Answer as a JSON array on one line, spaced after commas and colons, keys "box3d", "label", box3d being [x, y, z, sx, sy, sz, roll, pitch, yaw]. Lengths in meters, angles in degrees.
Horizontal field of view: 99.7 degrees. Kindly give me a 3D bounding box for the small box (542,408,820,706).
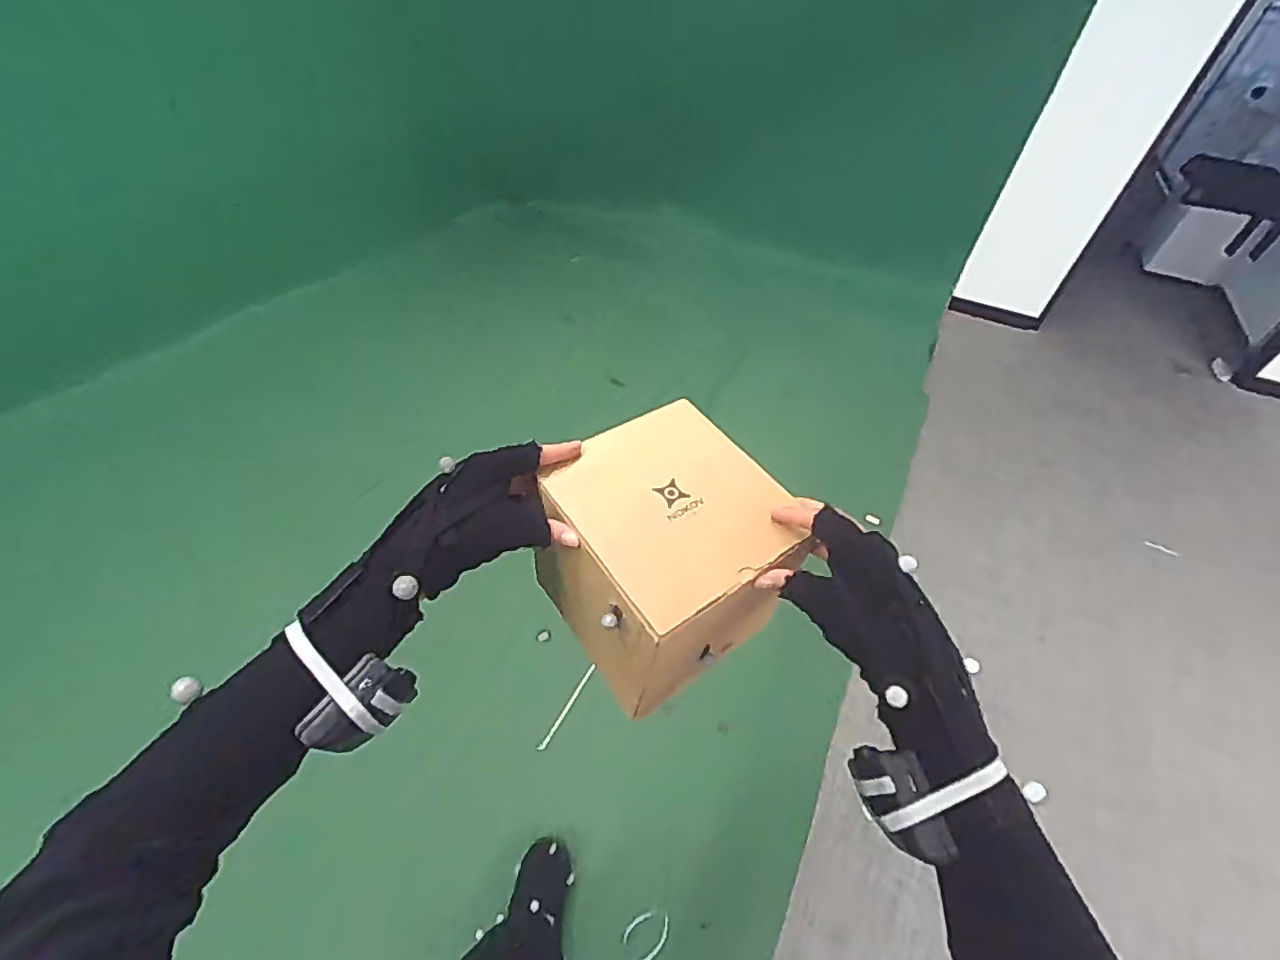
[{"box3d": [0.021, 0.069, 0.496, 0.168, 0.176, 0.179, -25, 58, -27], "label": "small box"}]
